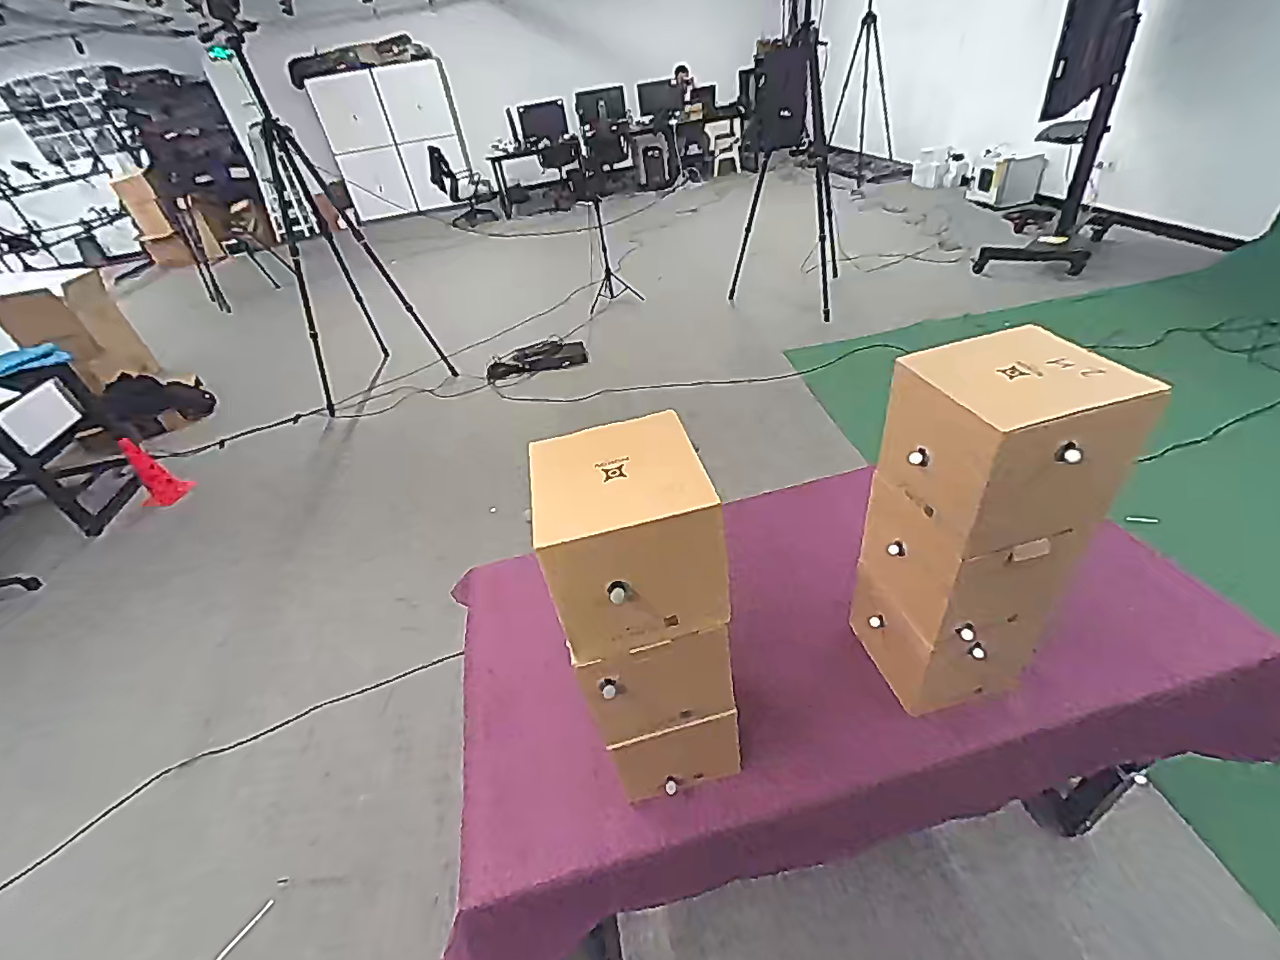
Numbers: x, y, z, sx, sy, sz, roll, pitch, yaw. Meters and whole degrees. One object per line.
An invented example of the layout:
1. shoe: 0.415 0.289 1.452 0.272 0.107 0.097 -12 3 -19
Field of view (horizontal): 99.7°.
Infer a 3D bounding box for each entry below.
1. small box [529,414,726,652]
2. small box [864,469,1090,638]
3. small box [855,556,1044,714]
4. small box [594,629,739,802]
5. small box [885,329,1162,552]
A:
1. small box: -0.013 0.059 0.574 0.168 0.176 0.179 -14 36 -3
2. small box: 0.417 0.083 0.707 0.168 0.176 0.179 -14 37 -5
3. small box: 0.440 0.211 0.807 0.168 0.176 0.179 -15 37 -4
4. small box: 0.035 0.317 0.770 0.168 0.176 0.179 -14 39 -4
5. small box: 0.396 -0.043 0.602 0.179 0.176 0.168 -14 39 -5
